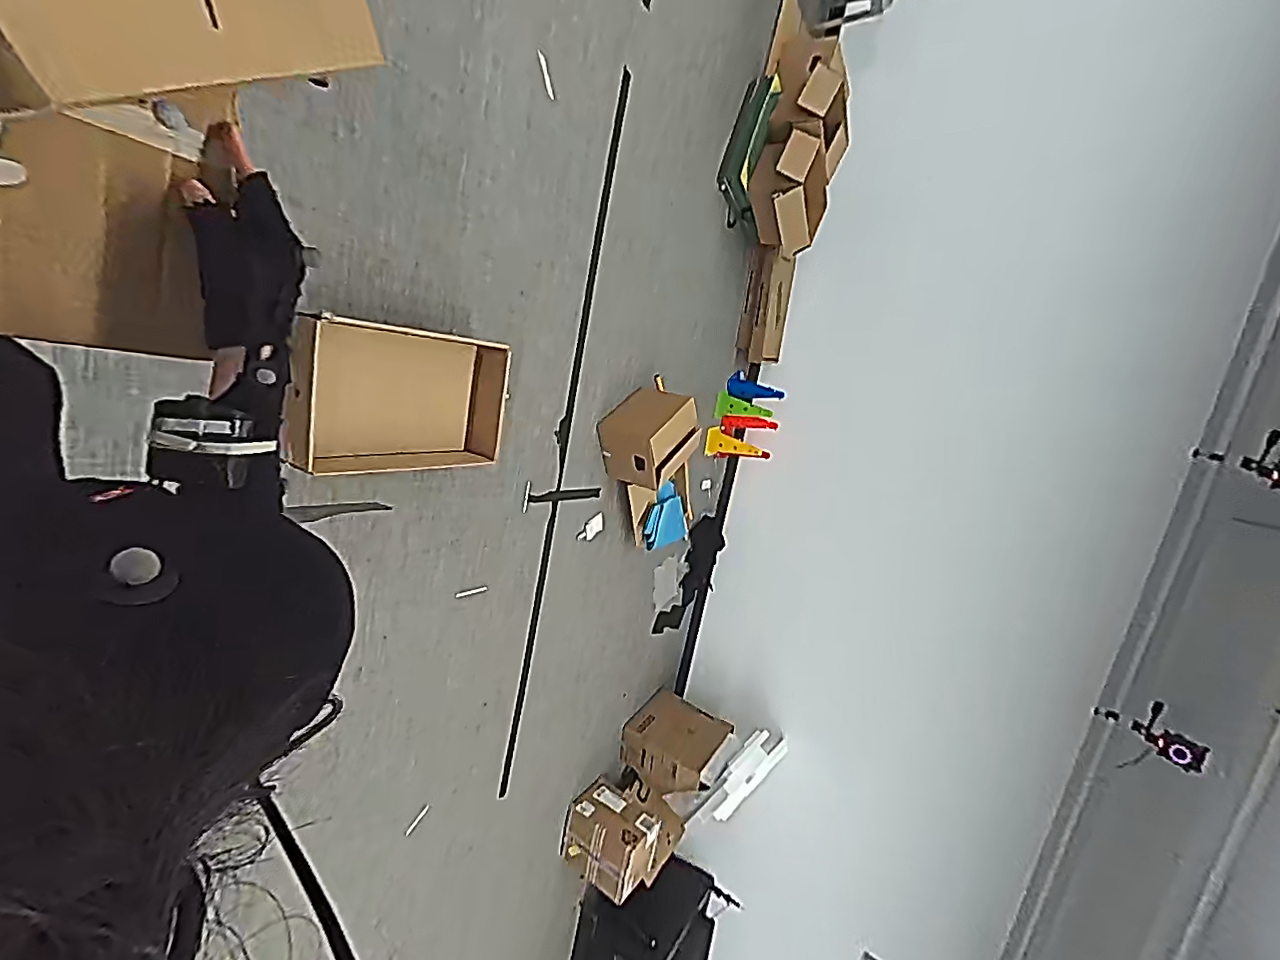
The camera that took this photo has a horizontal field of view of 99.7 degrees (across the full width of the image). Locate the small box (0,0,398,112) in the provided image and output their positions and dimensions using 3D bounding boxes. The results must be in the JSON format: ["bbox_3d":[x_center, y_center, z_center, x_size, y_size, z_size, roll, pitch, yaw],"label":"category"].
[{"bbox_3d":[-0.263,-0.295,0.262,0.168,0.176,0.179,-42,141,-37],"label":"small box"}]

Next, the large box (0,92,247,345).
[{"bbox_3d":[-0.533,-0.292,0.319,0.408,0.320,0.320,-3,112,-58],"label":"large box"}]
